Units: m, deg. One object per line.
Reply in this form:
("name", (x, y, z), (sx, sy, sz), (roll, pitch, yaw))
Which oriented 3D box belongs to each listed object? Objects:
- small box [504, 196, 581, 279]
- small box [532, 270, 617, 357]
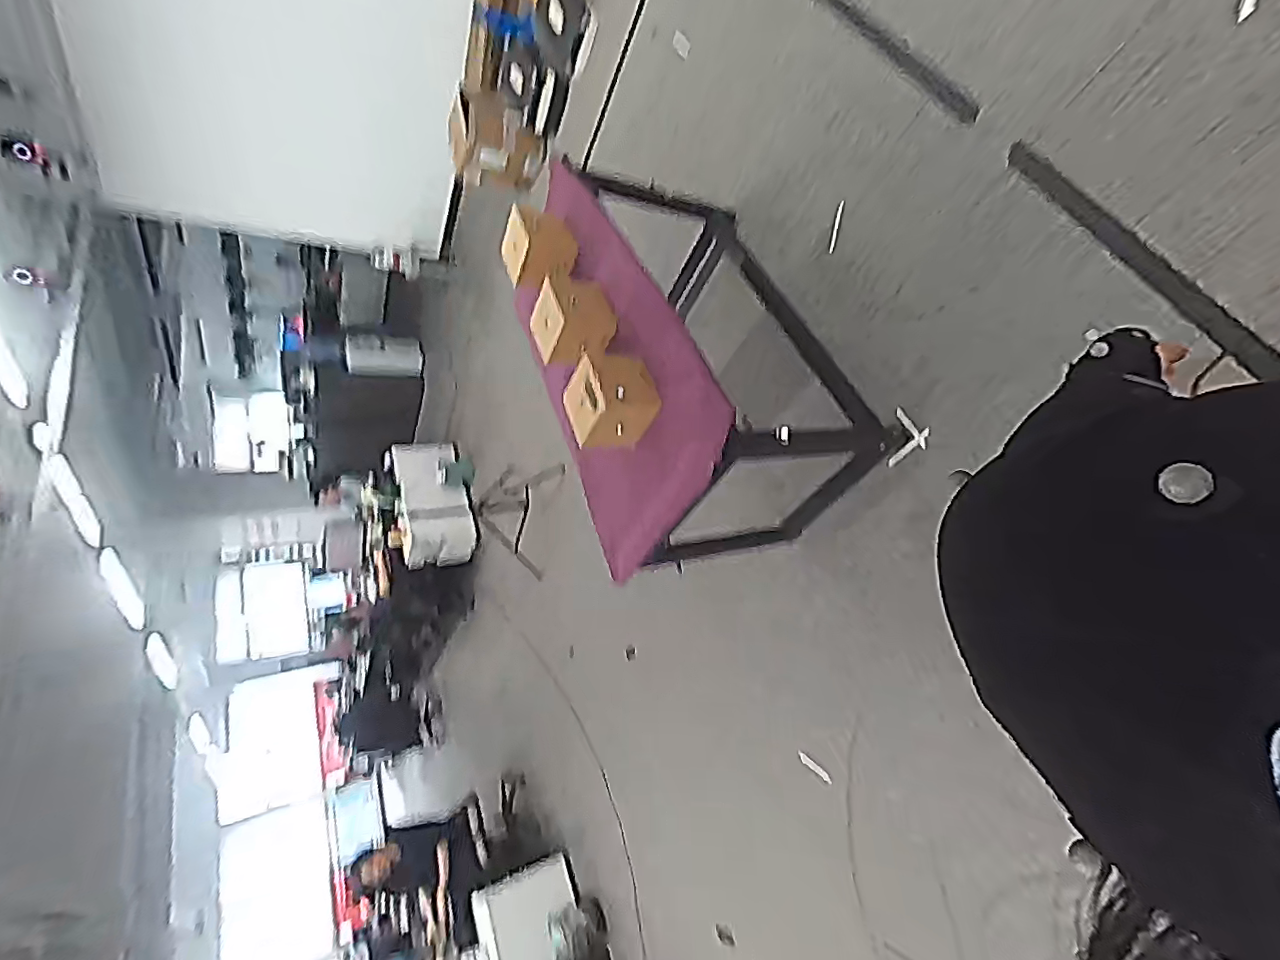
("small box", (-0.306, -0.745, 1.689), (0.168, 0.176, 0.179), (-51, 54, 47))
("small box", (-0.186, -0.467, 1.543), (0.168, 0.176, 0.179), (-50, 53, 46))
